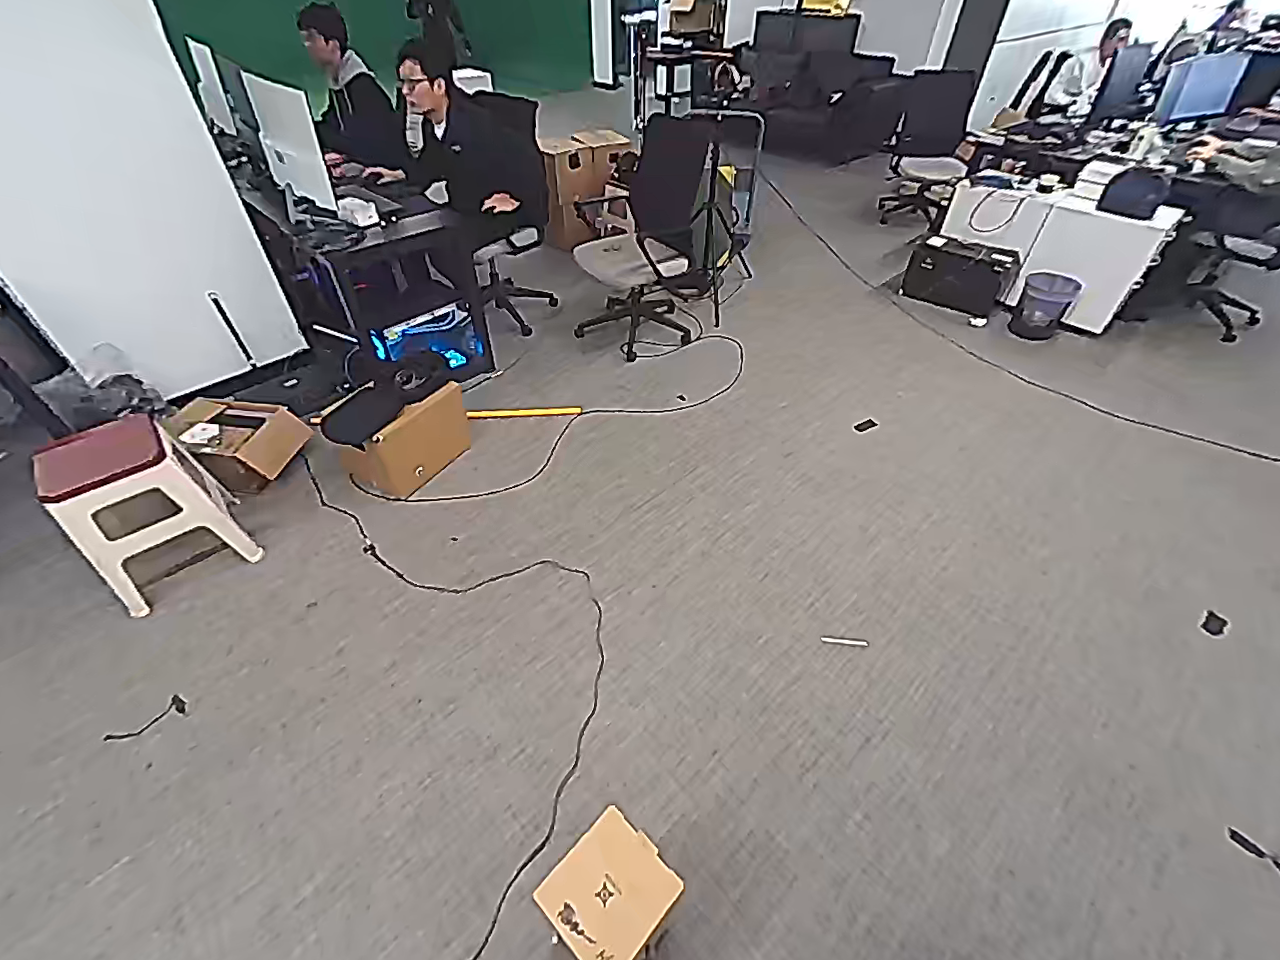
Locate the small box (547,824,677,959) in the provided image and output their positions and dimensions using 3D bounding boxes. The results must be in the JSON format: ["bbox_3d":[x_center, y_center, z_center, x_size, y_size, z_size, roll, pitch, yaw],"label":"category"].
[{"bbox_3d":[-0.048,0.799,1.009,0.168,0.176,0.179,31,50,27],"label":"small box"}]

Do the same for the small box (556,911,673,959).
[{"bbox_3d":[-0.052,0.920,1.116,0.168,0.176,0.179,33,53,30],"label":"small box"}]
